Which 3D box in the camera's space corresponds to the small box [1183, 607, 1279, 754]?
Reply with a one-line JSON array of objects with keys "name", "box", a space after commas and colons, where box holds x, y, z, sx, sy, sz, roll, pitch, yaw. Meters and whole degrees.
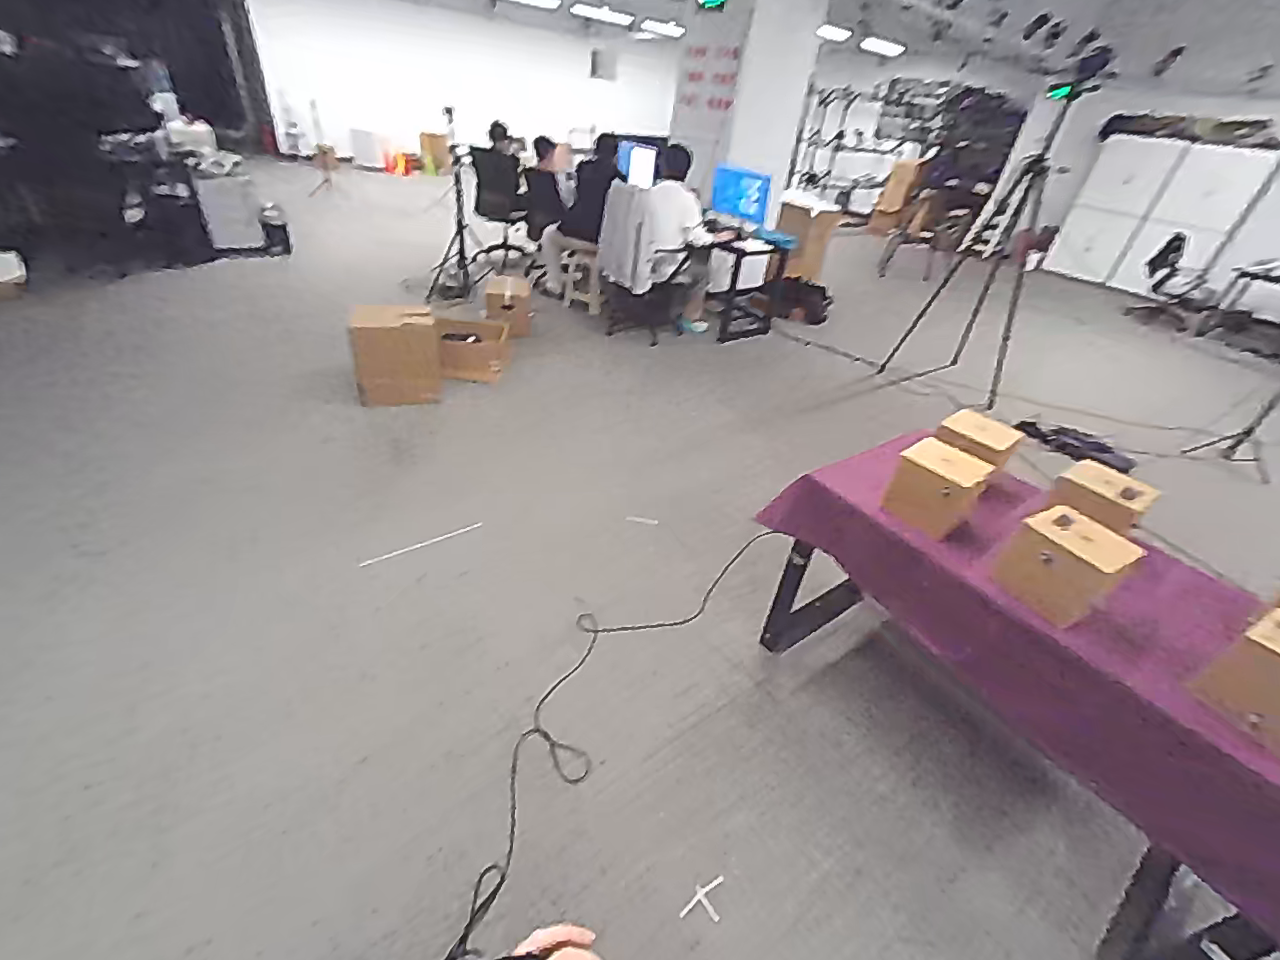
[{"name": "small box", "box": [1.164, 0.368, 0.975, 0.168, 0.176, 0.179, -12, 40, -27]}]

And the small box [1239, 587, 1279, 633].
[{"name": "small box", "box": [1.428, 0.295, 1.128, 0.179, 0.176, 0.168, -16, 41, -28]}]

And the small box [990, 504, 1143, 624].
[{"name": "small box", "box": [0.925, 0.183, 1.190, 0.168, 0.176, 0.179, -13, 41, -27]}]

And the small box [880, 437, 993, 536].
[{"name": "small box", "box": [0.757, 0.016, 1.395, 0.168, 0.176, 0.179, -22, 46, -36]}]
